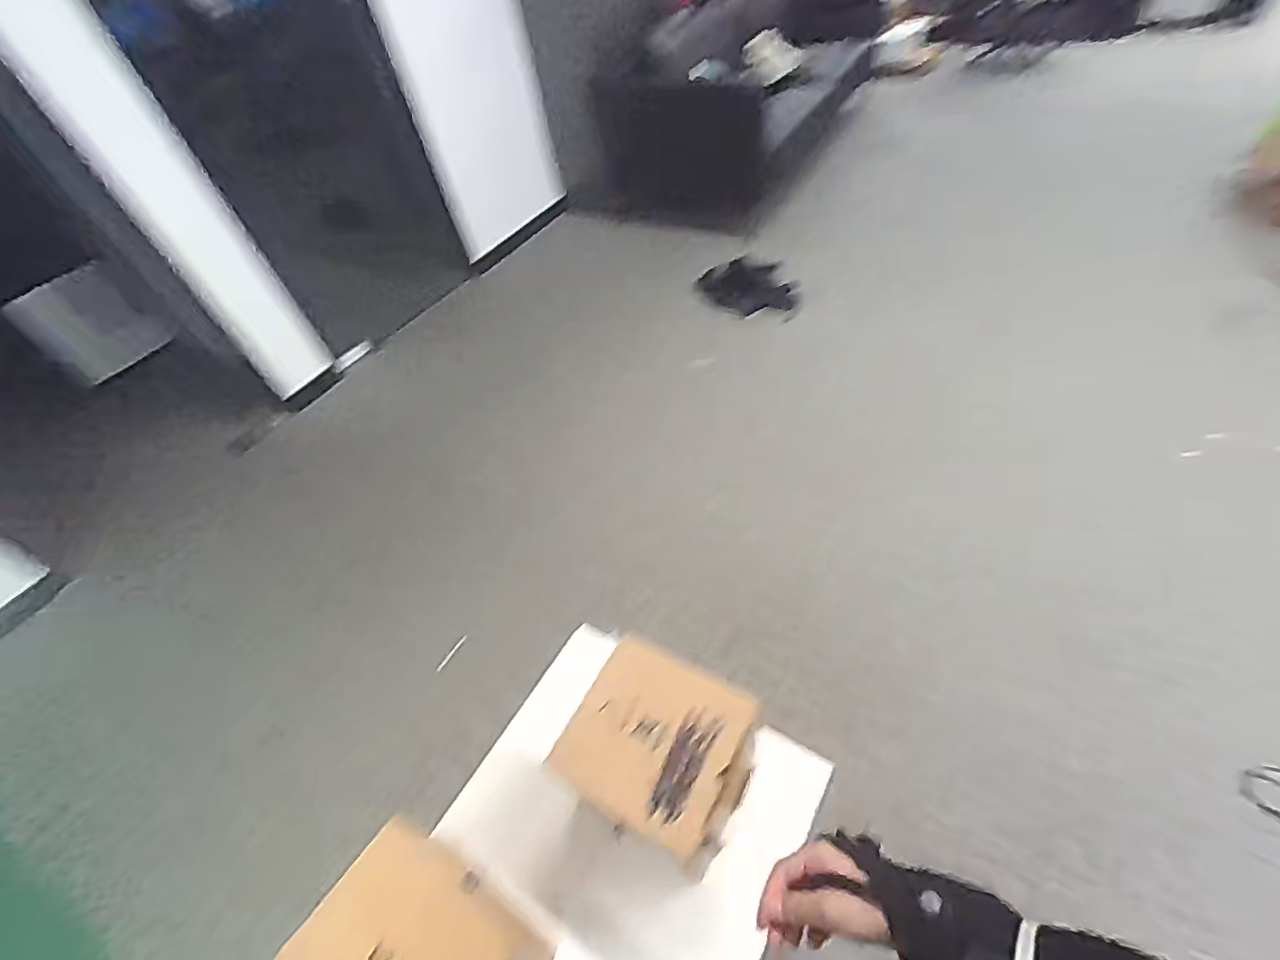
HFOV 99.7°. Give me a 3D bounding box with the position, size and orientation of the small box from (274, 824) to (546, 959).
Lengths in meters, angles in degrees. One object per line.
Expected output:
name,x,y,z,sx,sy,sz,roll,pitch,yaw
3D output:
small box,-0.221,0.483,0.525,0.179,0.176,0.168,24,56,27
